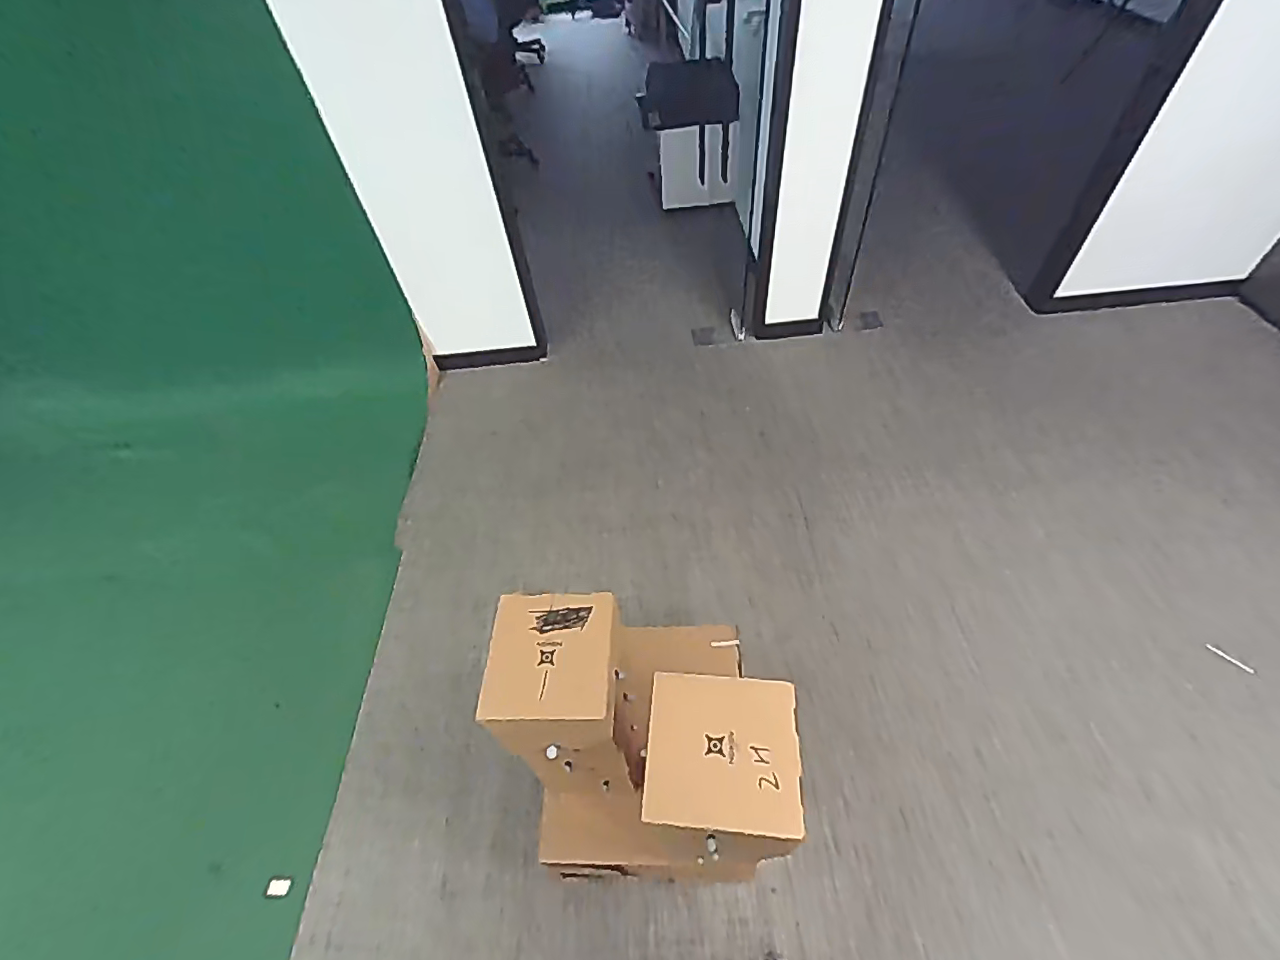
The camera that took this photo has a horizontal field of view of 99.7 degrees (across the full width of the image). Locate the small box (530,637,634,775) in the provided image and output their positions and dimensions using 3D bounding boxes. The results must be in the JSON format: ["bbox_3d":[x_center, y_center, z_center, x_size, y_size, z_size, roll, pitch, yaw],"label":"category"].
[{"bbox_3d":[-0.100,0.381,0.912,0.168,0.176,0.179,-2,50,4],"label":"small box"}]

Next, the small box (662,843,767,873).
[{"bbox_3d":[0.124,0.563,0.943,0.168,0.176,0.179,-1,48,5],"label":"small box"}]

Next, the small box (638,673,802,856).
[{"bbox_3d":[0.100,0.361,0.682,0.179,0.176,0.168,2,51,8],"label":"small box"}]

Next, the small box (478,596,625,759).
[{"bbox_3d":[-0.114,0.285,0.781,0.168,0.176,0.179,-2,50,5],"label":"small box"}]

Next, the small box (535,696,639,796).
[{"bbox_3d":[-0.091,0.491,1.034,0.168,0.176,0.179,-2,48,5],"label":"small box"}]
